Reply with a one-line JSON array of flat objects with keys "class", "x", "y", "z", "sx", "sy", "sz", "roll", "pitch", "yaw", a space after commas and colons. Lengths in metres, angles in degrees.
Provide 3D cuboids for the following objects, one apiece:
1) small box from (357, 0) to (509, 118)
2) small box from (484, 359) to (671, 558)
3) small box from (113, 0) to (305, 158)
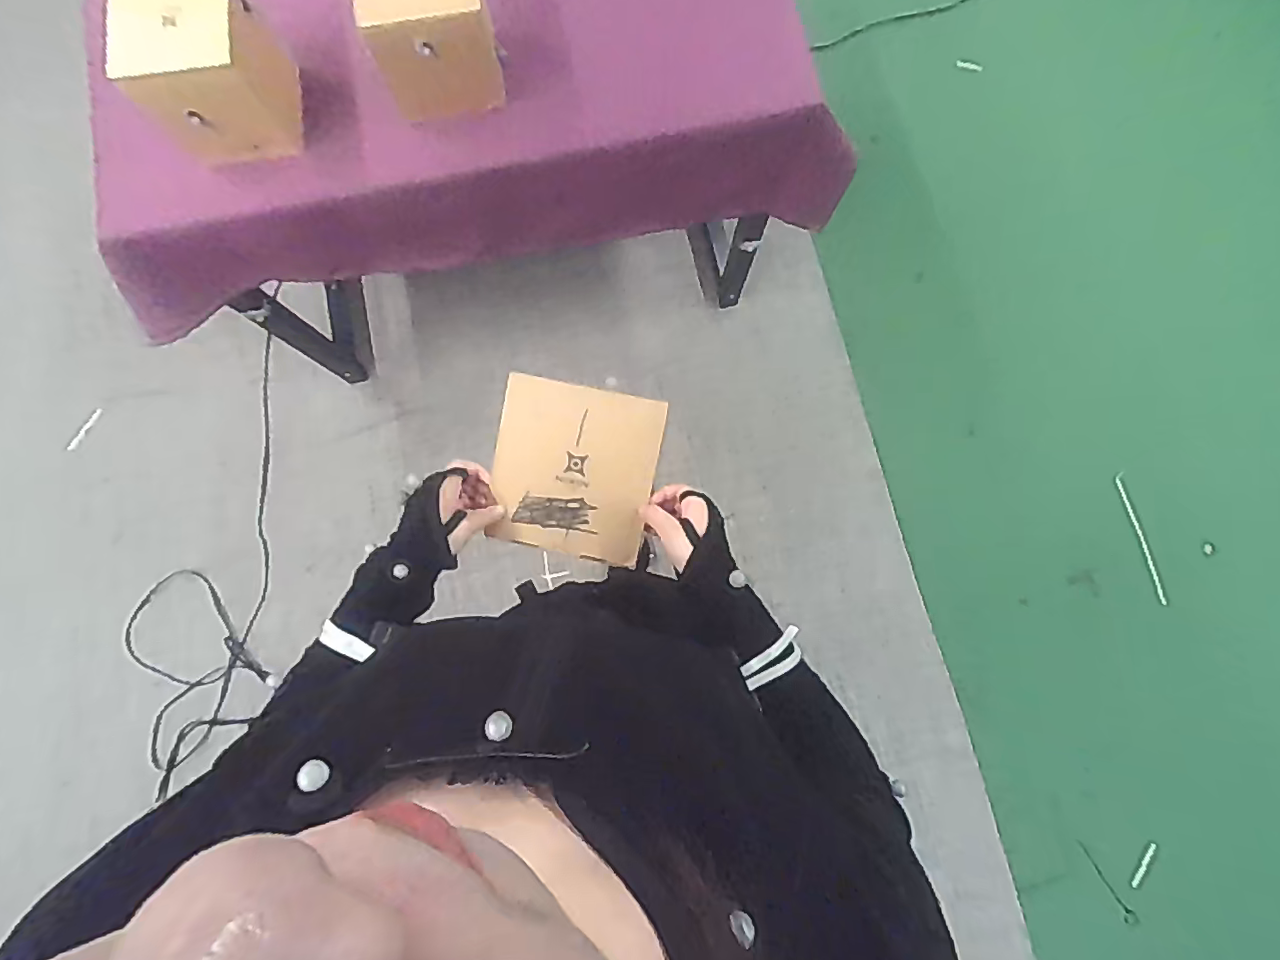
[{"class": "small box", "x": -0.315, "y": -0.700, "z": 0.838, "sx": 0.179, "sy": 0.176, "sz": 0.168, "roll": -10, "pitch": 81, "yaw": -3}, {"class": "small box", "x": -0.060, "y": -0.031, "z": 0.626, "sx": 0.168, "sy": 0.176, "sz": 0.179, "roll": 13, "pitch": 99, "yaw": 3}, {"class": "small box", "x": -0.640, "y": -0.623, "z": 0.824, "sx": 0.168, "sy": 0.176, "sz": 0.179, "roll": -8, "pitch": 80, "yaw": -2}]
